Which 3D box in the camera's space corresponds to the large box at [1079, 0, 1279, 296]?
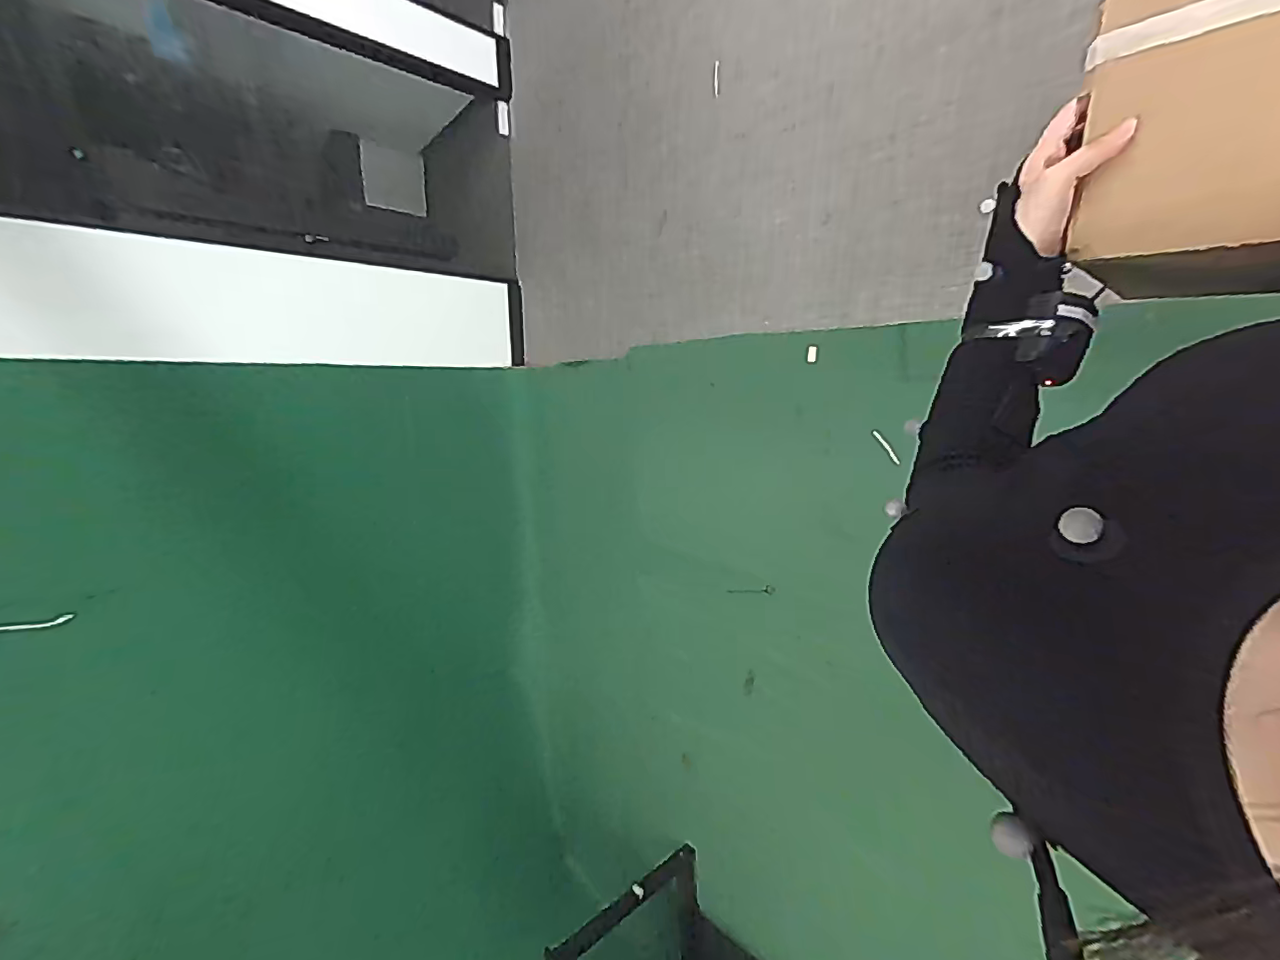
[{"bbox_3d":[0.608,-0.325,0.382,0.408,0.320,0.320,13,107,45],"label":"large box"}]
